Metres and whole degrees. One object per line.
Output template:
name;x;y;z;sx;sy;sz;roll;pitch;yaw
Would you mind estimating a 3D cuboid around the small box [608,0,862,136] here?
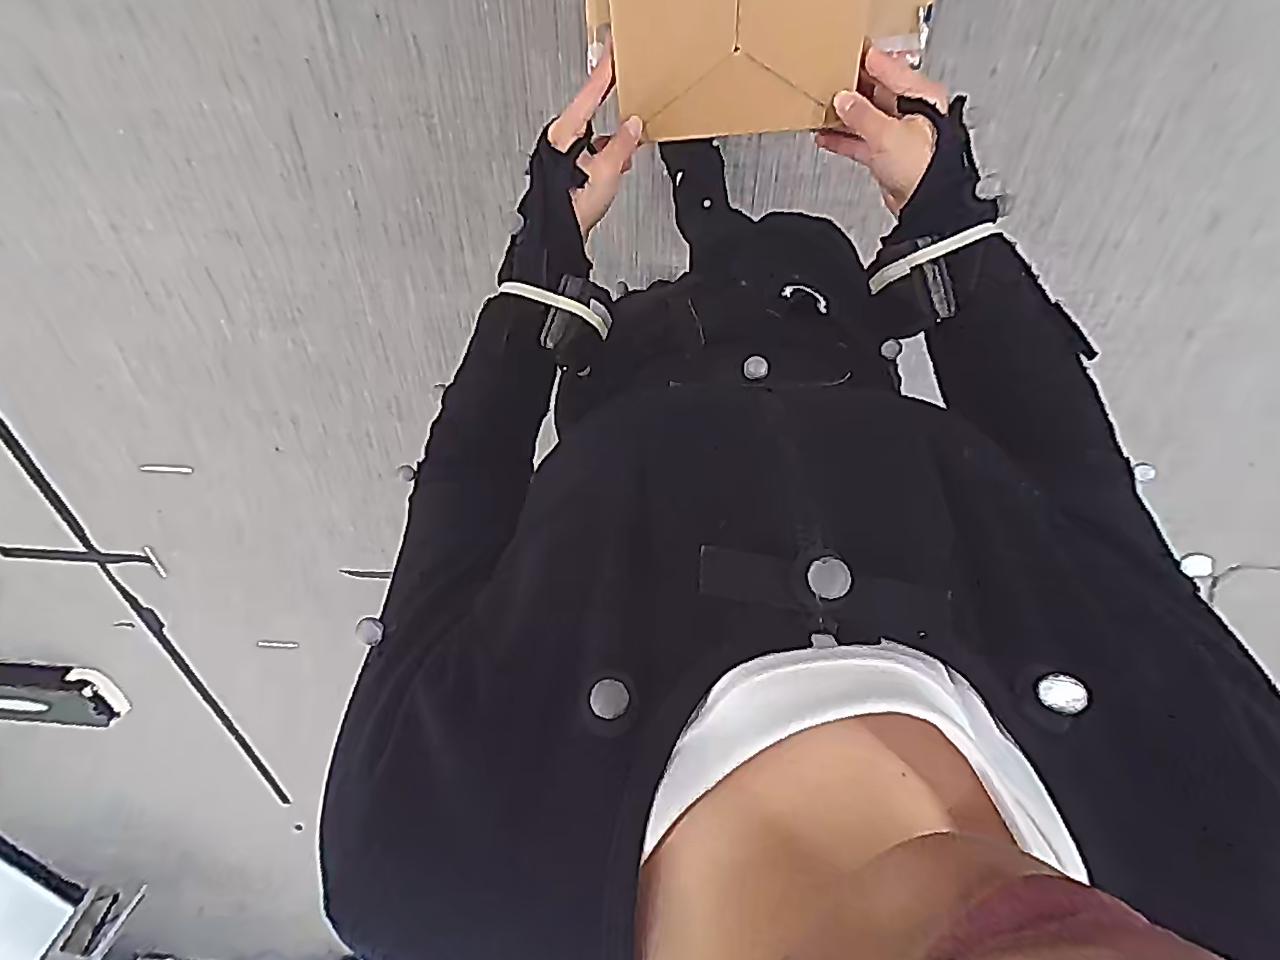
small box;0.064;-0.384;0.421;0.179;0.176;0.168;-2;134;4
